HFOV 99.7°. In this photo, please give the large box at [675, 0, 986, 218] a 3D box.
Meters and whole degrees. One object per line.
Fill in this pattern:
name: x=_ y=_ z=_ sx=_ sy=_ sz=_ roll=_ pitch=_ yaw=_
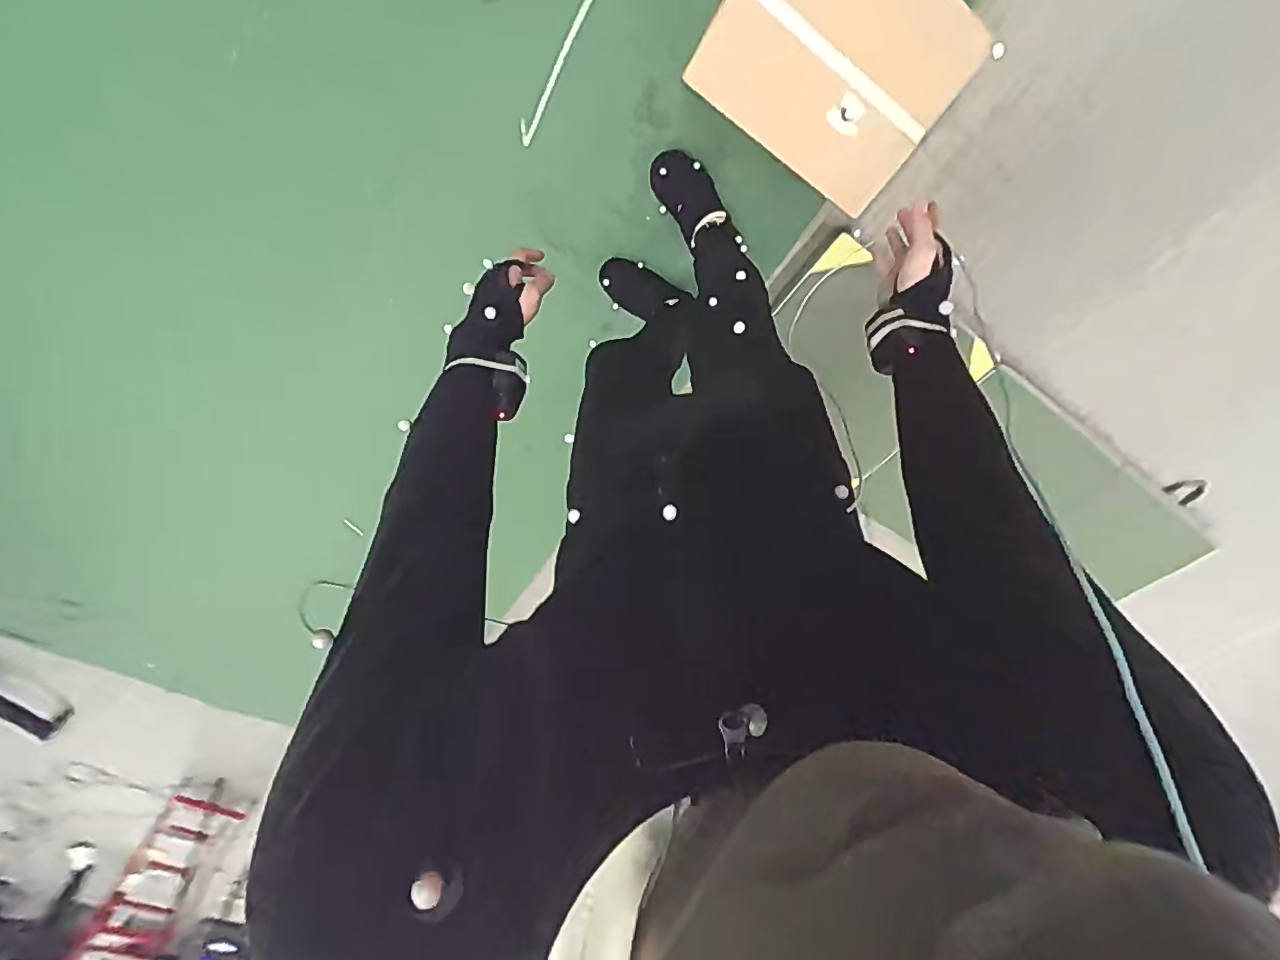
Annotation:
large box: x=0.315 y=-0.772 z=1.011 sx=0.408 sy=0.320 sz=0.320 roll=27 pitch=124 yaw=-18
